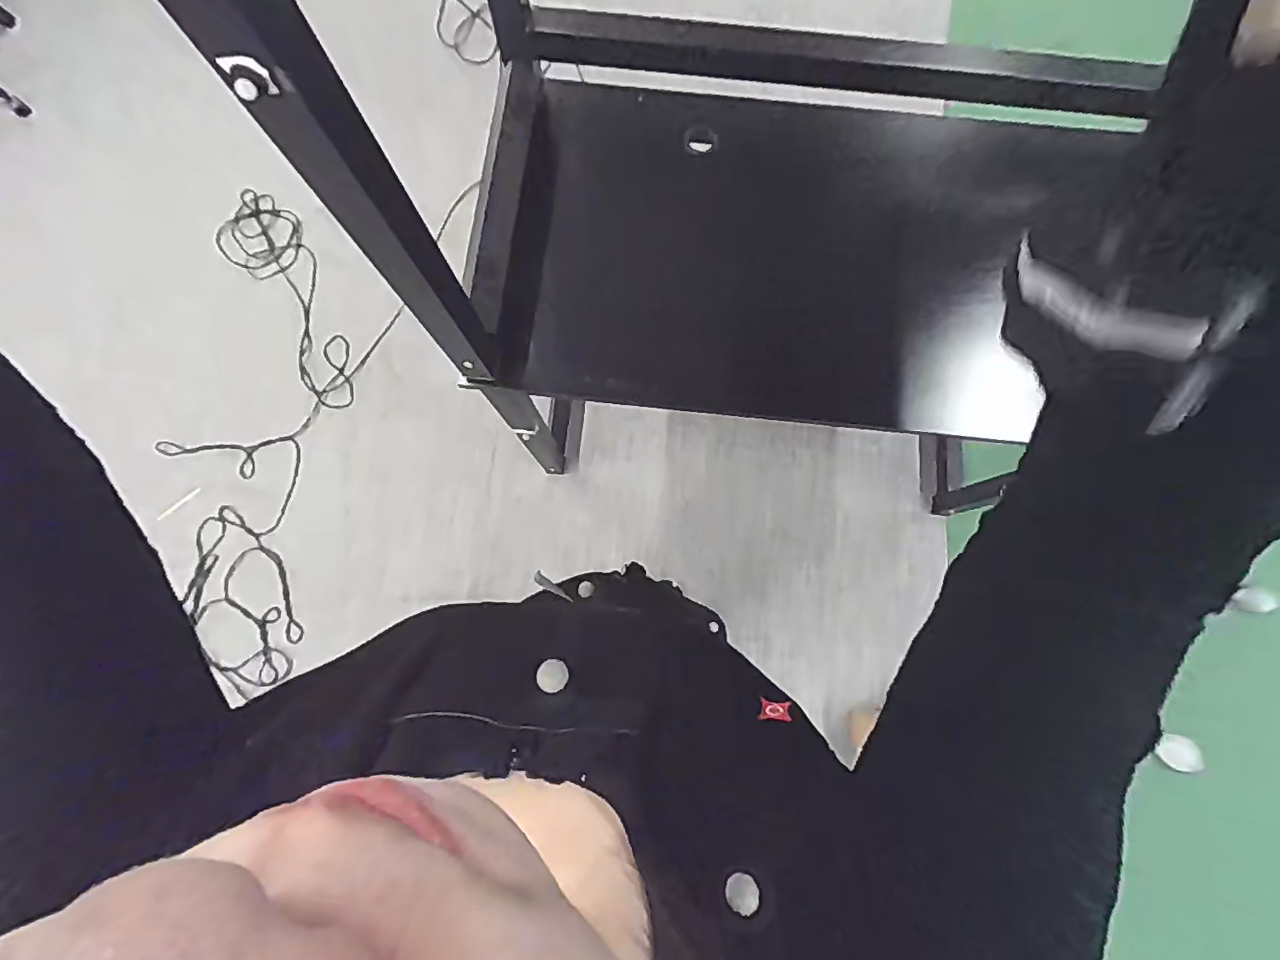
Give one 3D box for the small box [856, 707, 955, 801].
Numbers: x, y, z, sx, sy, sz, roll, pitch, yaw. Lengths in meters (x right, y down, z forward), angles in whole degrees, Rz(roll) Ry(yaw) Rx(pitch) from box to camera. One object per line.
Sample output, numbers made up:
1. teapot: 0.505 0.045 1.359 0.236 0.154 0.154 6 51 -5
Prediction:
1. small box: 0.653 0.673 1.347 0.179 0.176 0.168 5 78 2
